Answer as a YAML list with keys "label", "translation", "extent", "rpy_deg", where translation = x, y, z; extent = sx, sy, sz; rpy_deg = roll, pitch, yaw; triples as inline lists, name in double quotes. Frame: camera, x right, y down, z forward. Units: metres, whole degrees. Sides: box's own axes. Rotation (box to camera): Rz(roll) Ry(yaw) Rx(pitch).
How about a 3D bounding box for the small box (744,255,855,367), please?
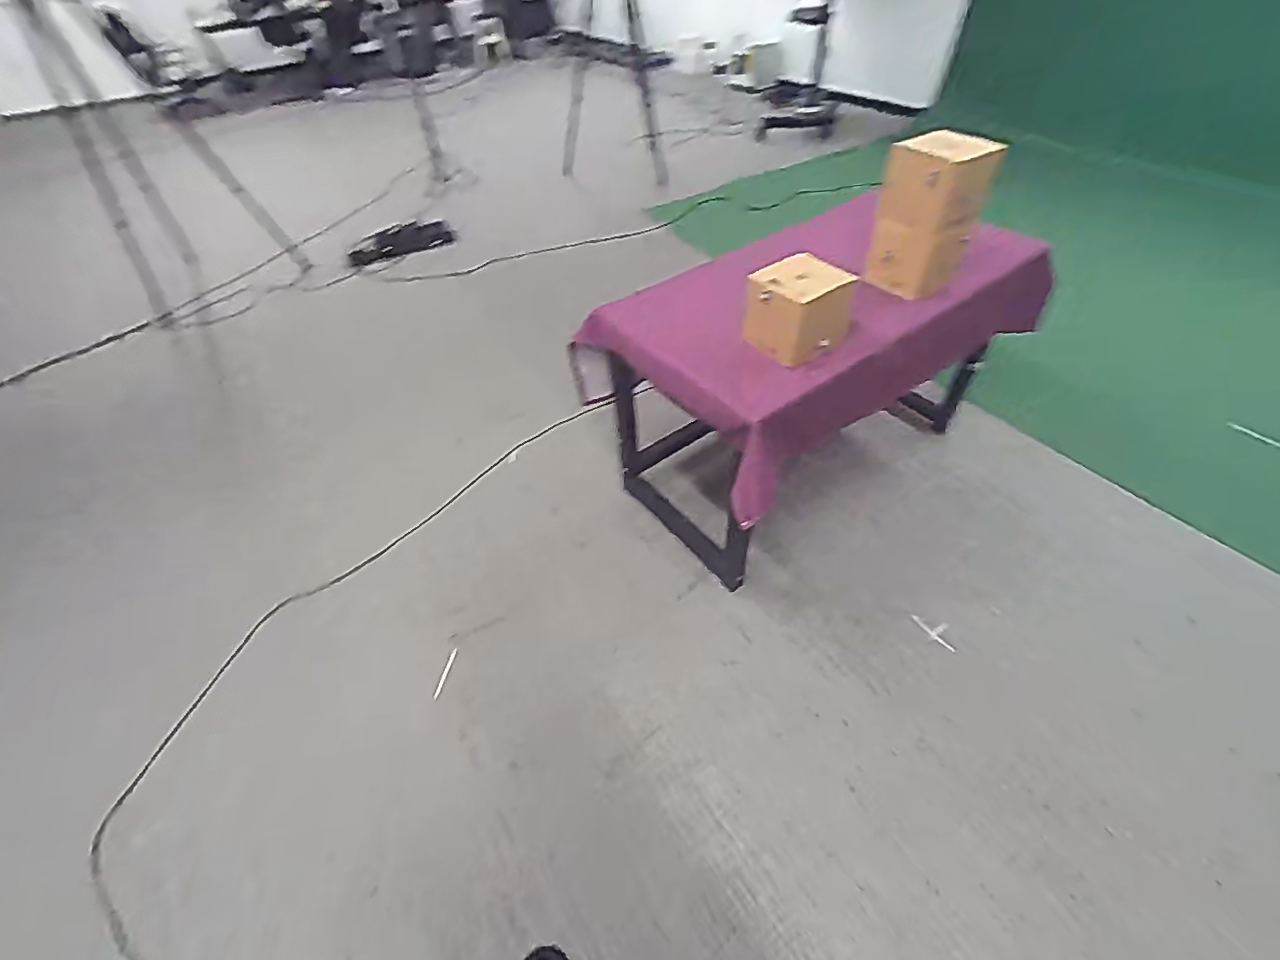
- label: "small box"
  translation: [0.360, -0.392, 1.256]
  extent: [0.179, 0.176, 0.168]
  rpy_deg: [-29, 51, -22]

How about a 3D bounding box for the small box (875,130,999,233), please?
- label: "small box"
  translation: [0.709, -0.719, 1.309]
  extent: [0.168, 0.176, 0.179]
  rpy_deg: [-26, 50, -20]

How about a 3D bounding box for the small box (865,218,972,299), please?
- label: "small box"
  translation: [0.722, -0.603, 1.426]
  extent: [0.179, 0.176, 0.168]
  rpy_deg: [-28, 51, -21]
